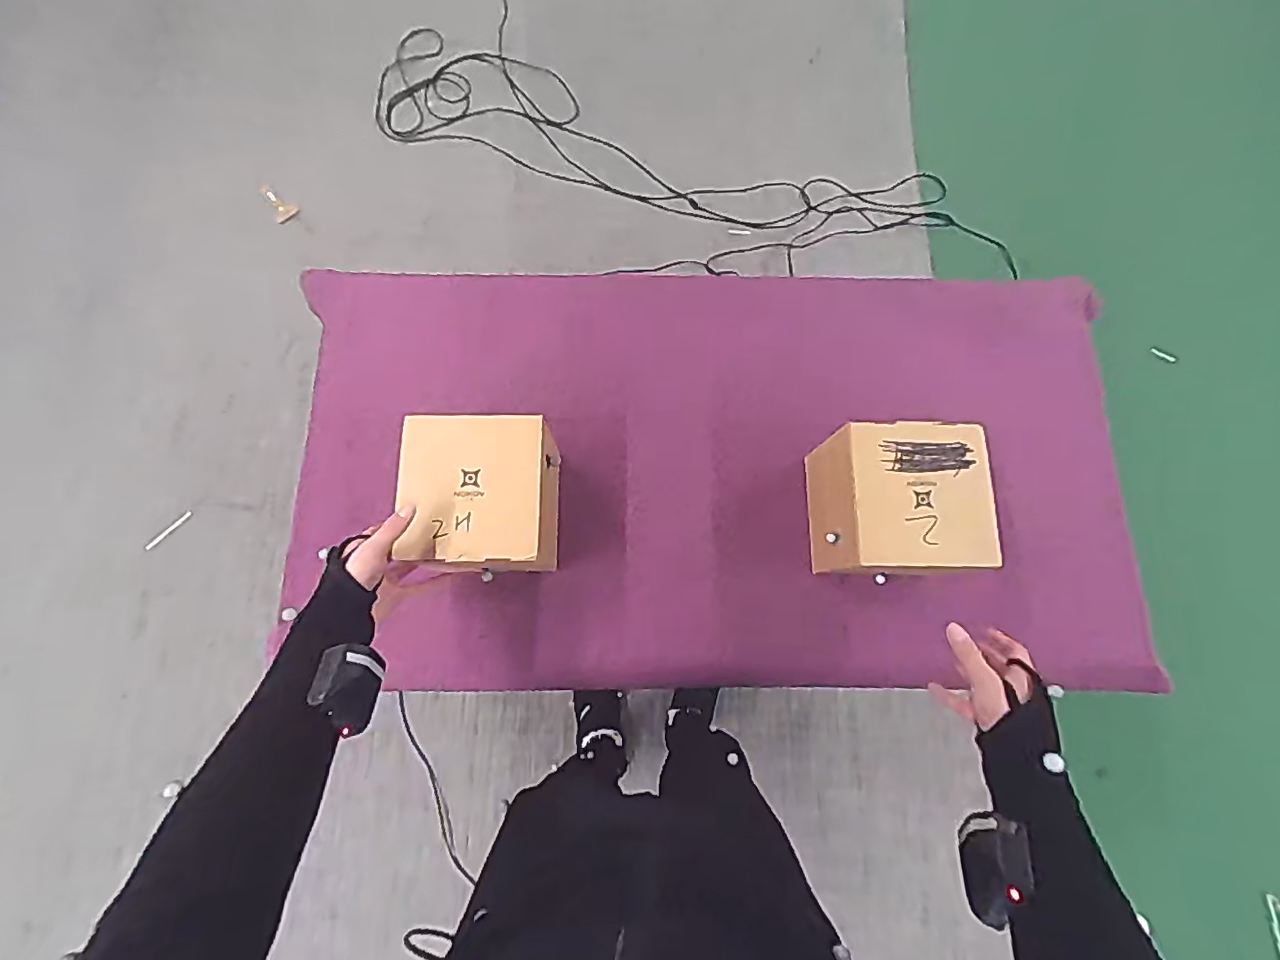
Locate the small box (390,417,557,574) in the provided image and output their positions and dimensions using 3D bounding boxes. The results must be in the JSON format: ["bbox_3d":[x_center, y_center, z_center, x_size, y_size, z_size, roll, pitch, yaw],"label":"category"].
[{"bbox_3d":[-0.203,0.028,0.709,0.168,0.176,0.179,0,77,-1],"label":"small box"}]
